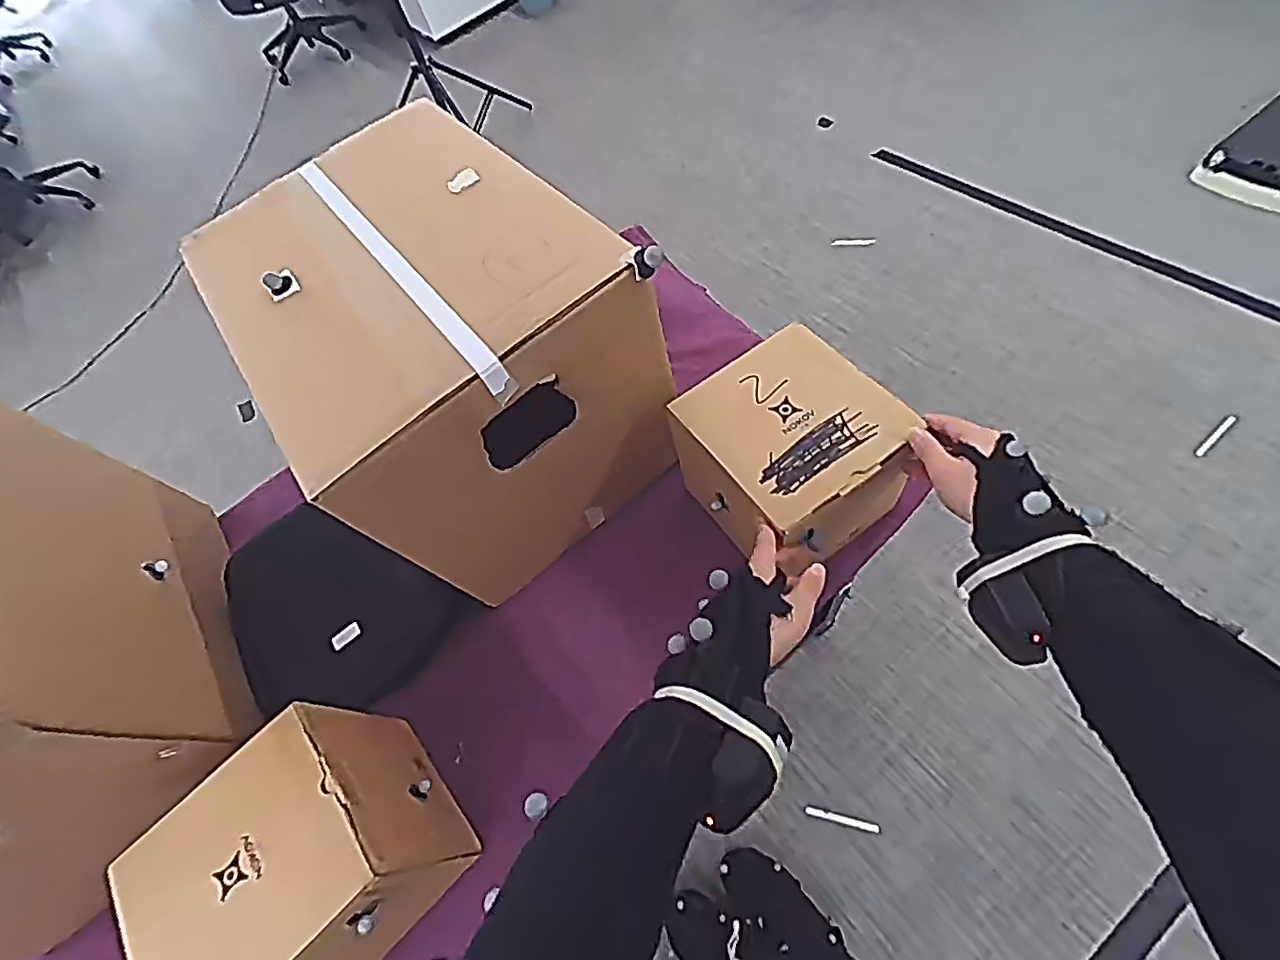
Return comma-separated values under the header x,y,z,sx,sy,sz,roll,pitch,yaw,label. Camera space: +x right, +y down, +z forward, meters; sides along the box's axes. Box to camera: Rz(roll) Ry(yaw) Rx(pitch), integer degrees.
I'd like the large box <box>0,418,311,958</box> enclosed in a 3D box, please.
x,y,z,sx,sy,sz,roll,pitch,yaw,label
-0.637,0.199,0.551,0.320,0.320,0.408,-40,64,-10,large box
